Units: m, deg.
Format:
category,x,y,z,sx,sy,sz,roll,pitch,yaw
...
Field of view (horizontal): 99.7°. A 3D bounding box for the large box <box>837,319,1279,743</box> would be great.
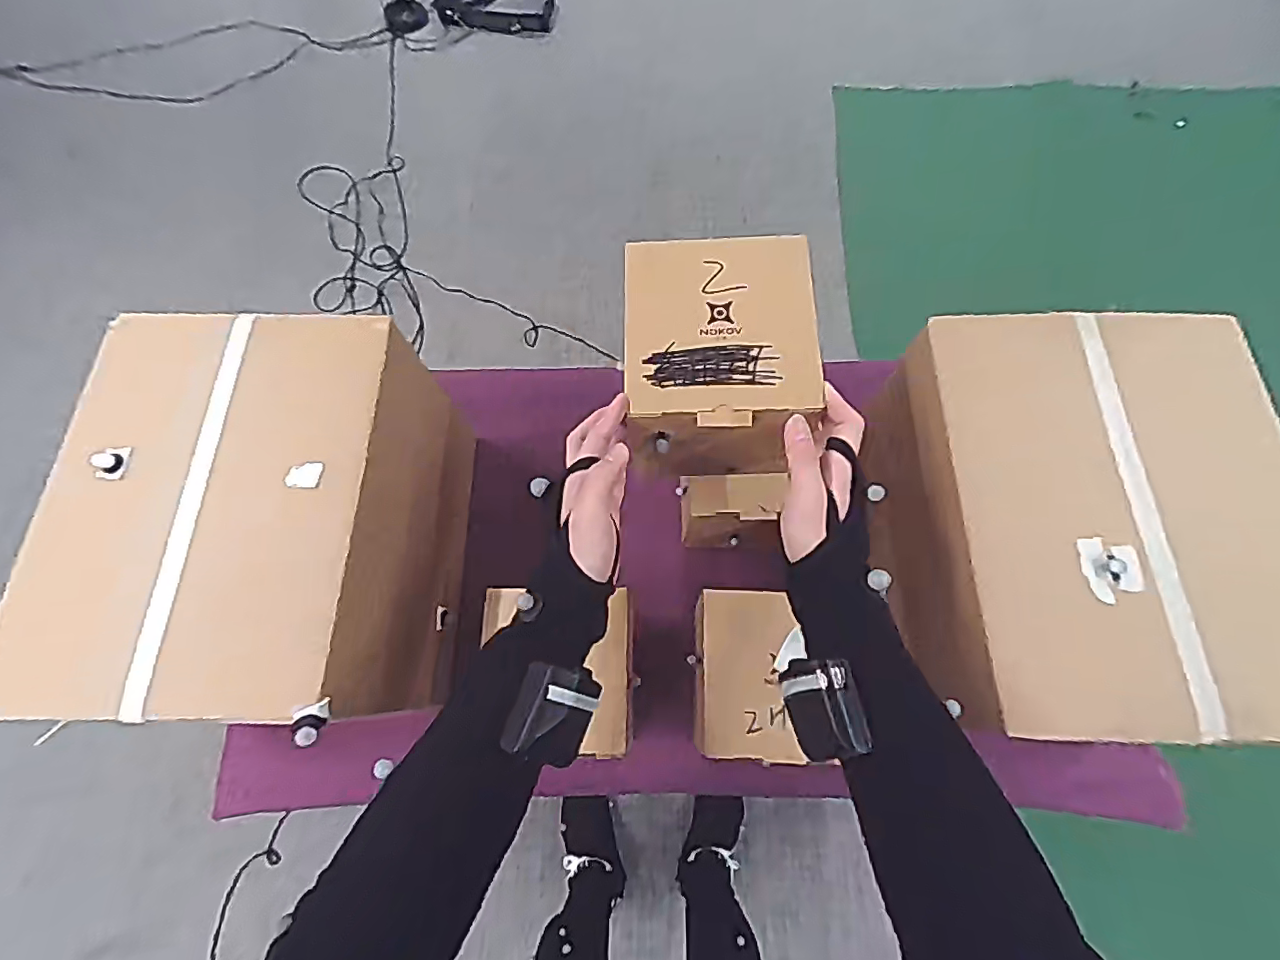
category,x,y,z,sx,sy,sz,roll,pitch,yaw
large box,0.453,0.069,0.636,0.320,0.320,0.408,0,70,2
